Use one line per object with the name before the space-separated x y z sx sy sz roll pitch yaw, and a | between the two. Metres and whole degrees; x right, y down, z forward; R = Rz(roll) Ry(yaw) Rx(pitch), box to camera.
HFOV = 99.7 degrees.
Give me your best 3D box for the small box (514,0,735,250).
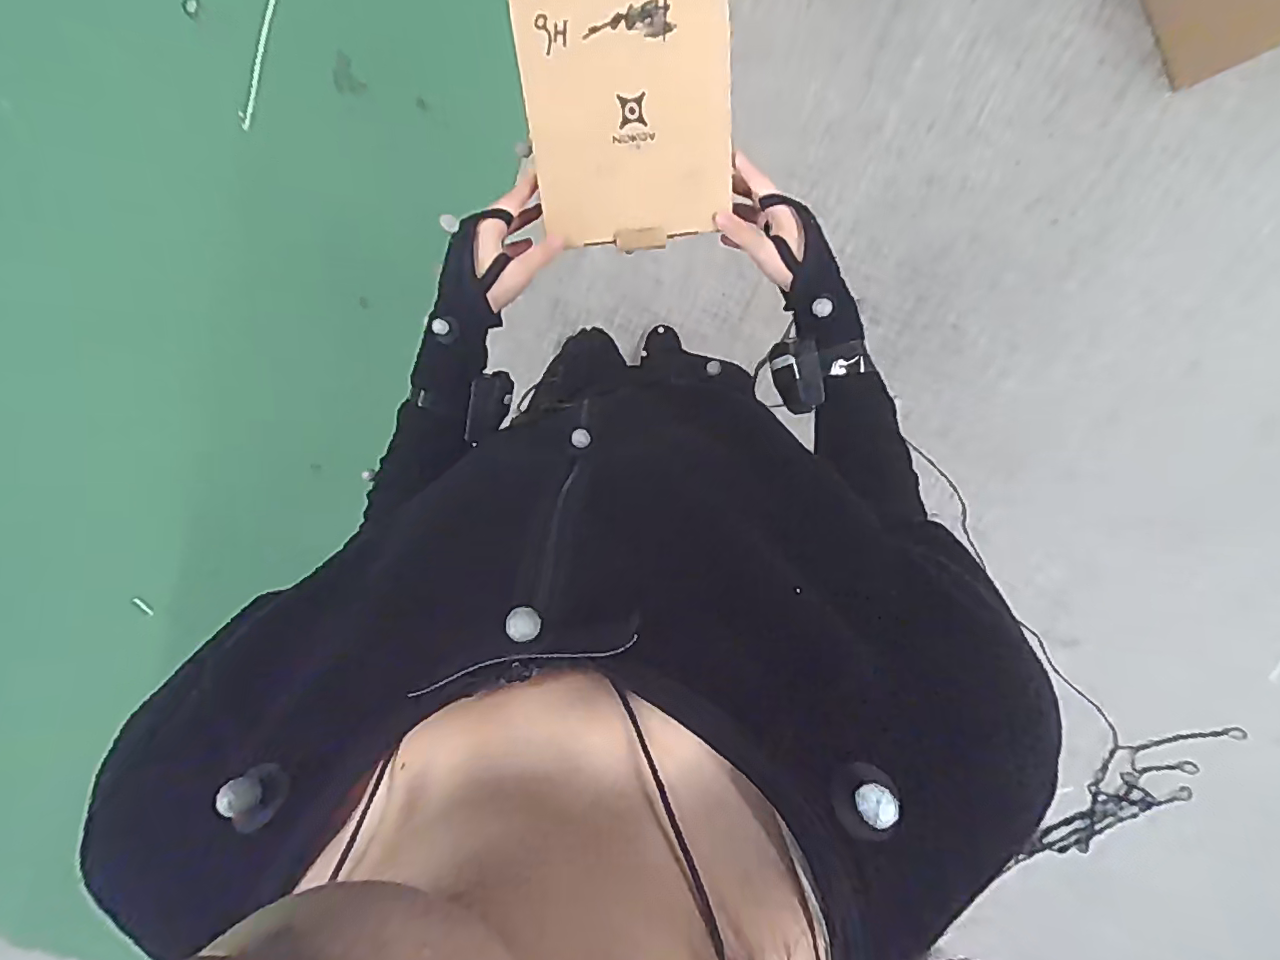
small box | -0.015 -0.323 0.502 0.168 0.176 0.179 -8 119 -5
